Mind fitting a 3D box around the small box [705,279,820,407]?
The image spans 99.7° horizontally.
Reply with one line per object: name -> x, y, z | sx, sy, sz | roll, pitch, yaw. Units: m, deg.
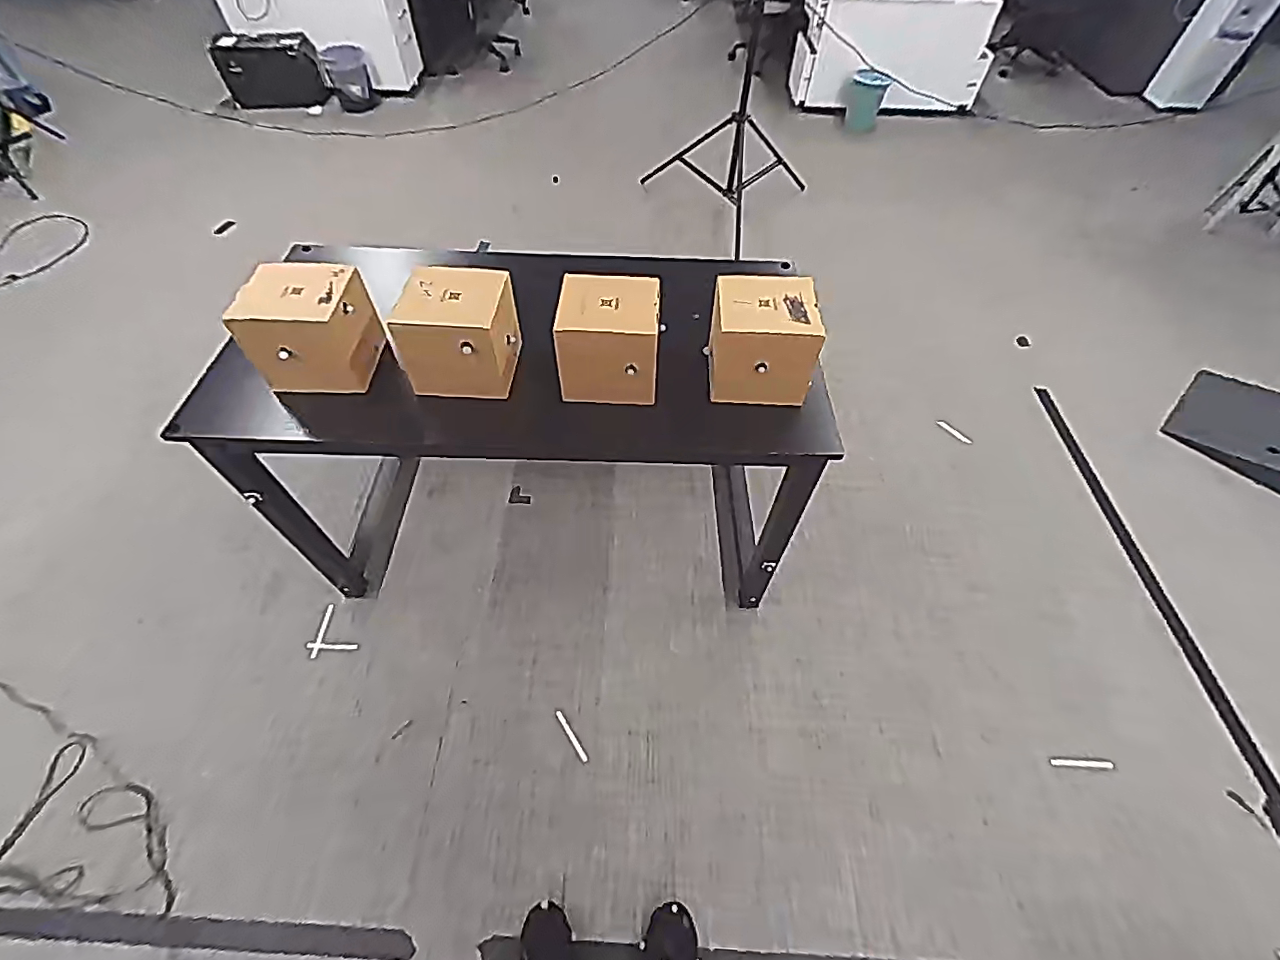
small box -> 0.218, -0.251, 1.011 | 0.179, 0.176, 0.168 | 2, 53, 2

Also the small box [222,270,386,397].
small box -> -0.607, -0.269, 1.004 | 0.179, 0.176, 0.168 | 0, 54, -1

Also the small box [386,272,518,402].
small box -> -0.334, -0.262, 1.005 | 0.179, 0.176, 0.168 | 3, 53, 1

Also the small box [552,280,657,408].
small box -> -0.061, -0.249, 1.004 | 0.179, 0.176, 0.168 | 1, 52, -1
